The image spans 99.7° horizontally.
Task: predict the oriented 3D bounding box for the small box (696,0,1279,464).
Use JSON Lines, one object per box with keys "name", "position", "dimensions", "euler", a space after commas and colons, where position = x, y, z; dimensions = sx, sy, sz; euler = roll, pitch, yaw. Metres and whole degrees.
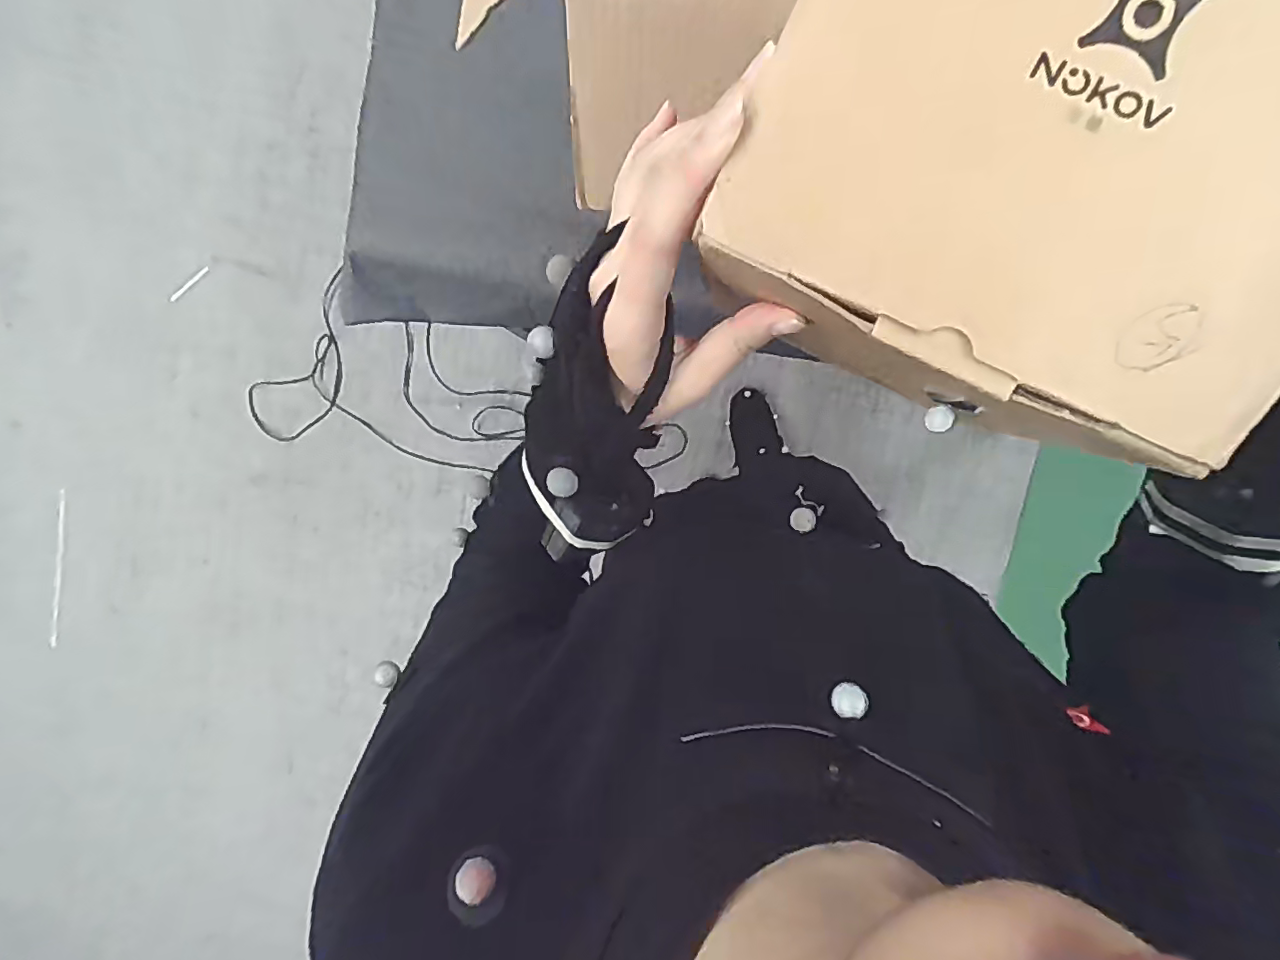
{"name": "small box", "position": [0.136, -0.129, 0.210], "dimensions": [0.168, 0.176, 0.179], "euler": [26, 103, 3]}
